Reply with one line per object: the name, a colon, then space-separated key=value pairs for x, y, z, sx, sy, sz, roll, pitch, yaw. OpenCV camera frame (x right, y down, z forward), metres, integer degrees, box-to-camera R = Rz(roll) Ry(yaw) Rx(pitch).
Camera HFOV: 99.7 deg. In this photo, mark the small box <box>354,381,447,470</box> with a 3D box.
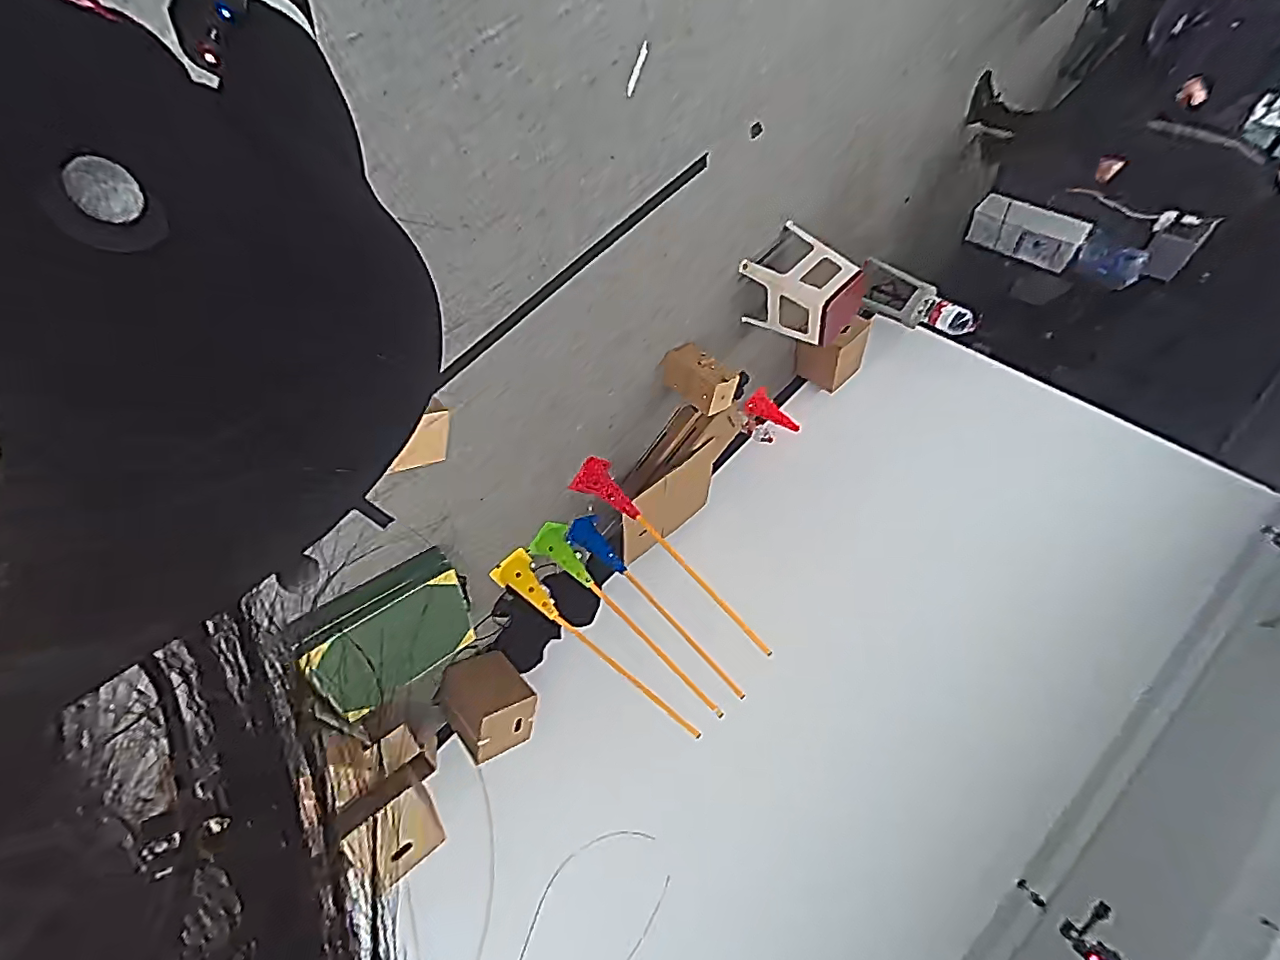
small box: x=-0.652 y=-0.148 z=1.475 sx=0.179 sy=0.176 sz=0.168 roll=-22 pitch=141 yaw=-43
